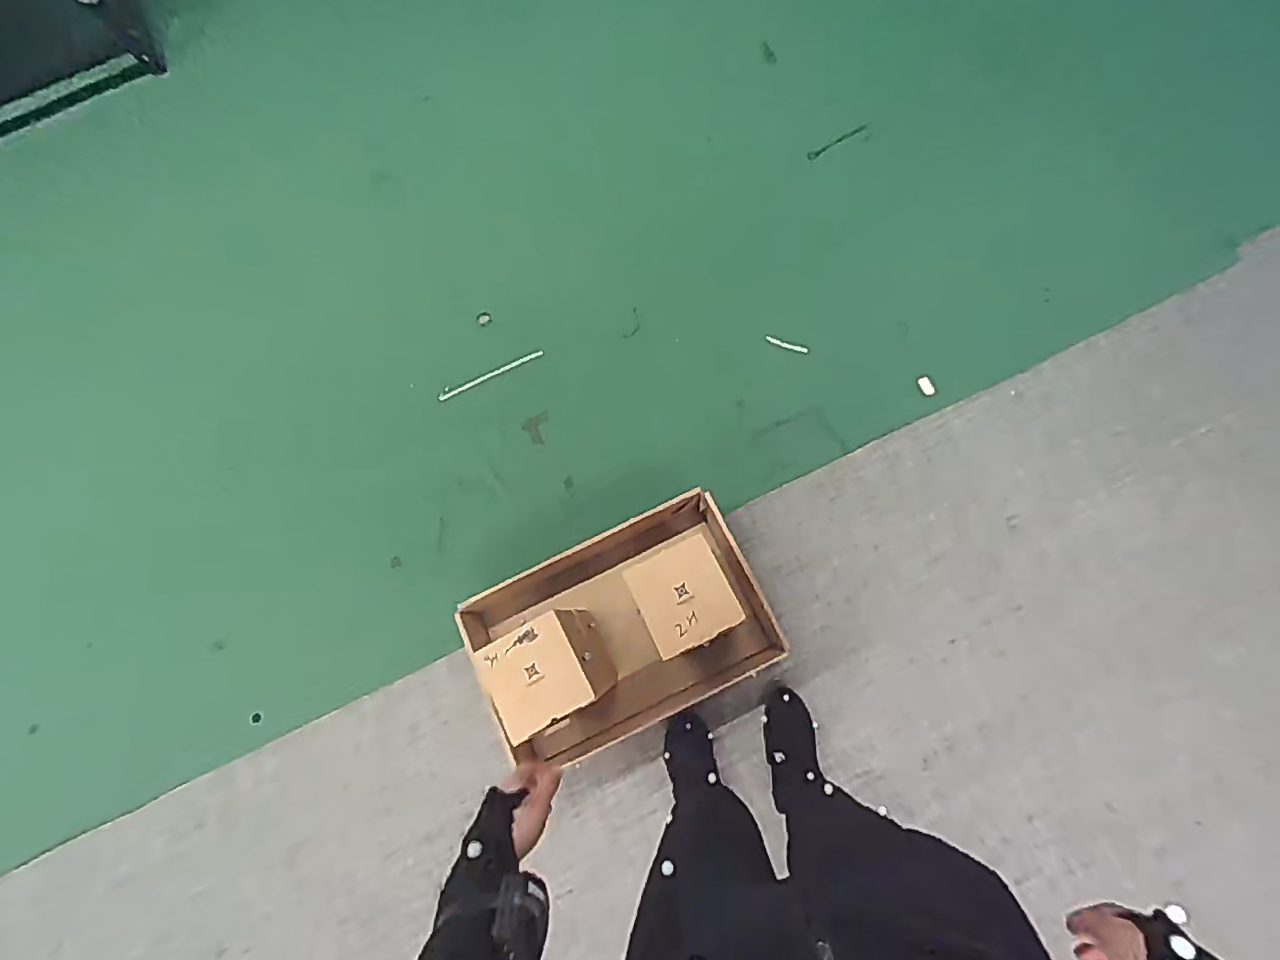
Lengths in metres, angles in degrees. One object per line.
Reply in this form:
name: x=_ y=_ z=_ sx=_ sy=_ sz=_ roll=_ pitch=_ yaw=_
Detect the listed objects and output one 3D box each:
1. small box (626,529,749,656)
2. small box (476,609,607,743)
small box: x=0.086 y=0.215 z=1.033 sx=0.168 sy=0.176 sz=0.179 roll=-26 pitch=77 yaw=-1
small box: x=-0.175 y=0.355 z=1.018 sx=0.168 sy=0.176 sz=0.179 roll=-29 pitch=77 yaw=-3
